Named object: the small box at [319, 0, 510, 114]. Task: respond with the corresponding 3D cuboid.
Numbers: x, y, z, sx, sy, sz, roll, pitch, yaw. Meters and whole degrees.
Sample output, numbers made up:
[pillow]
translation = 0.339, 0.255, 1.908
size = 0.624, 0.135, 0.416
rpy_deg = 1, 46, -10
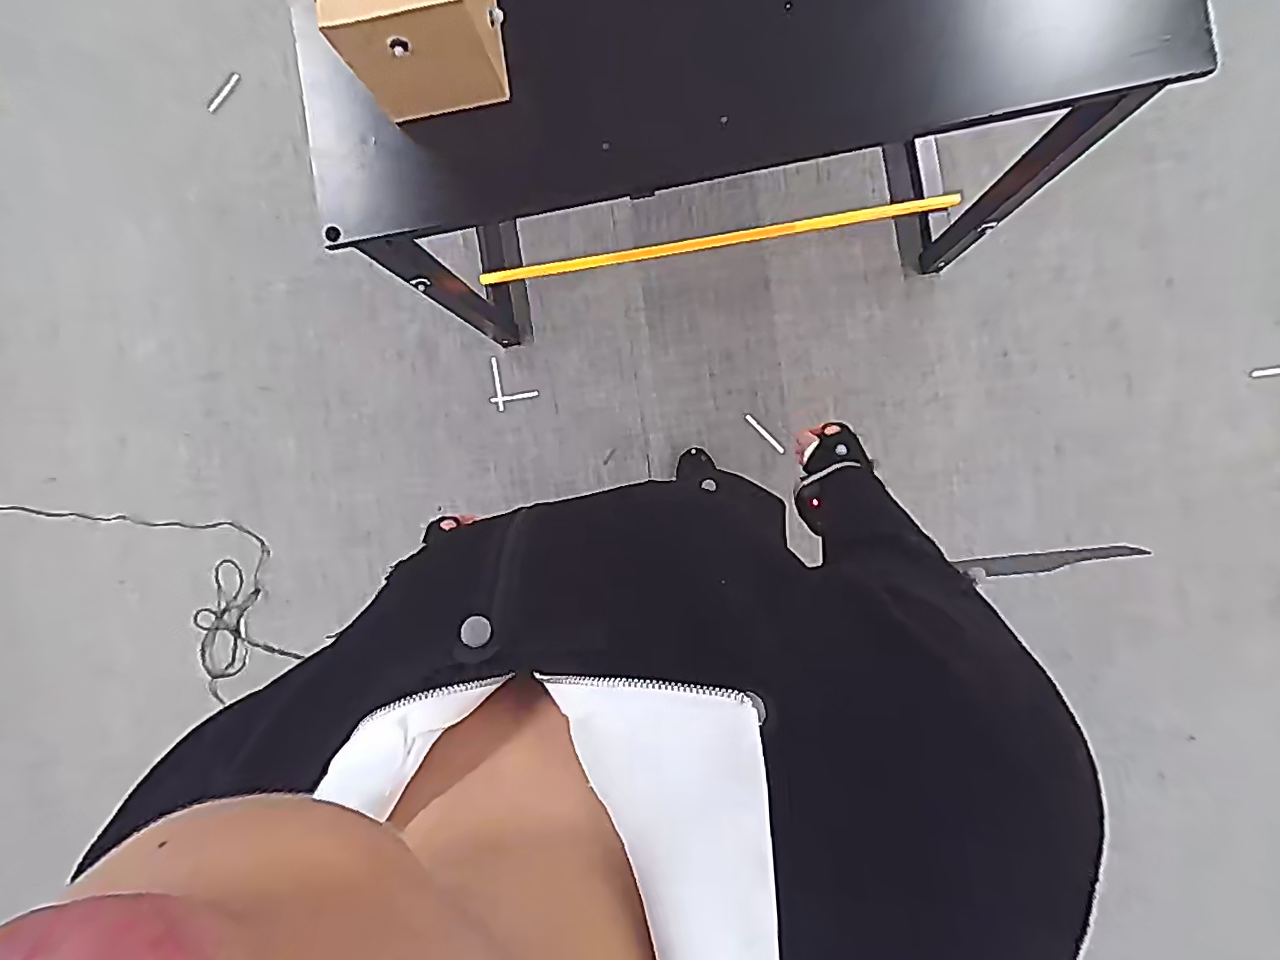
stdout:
[small box]
translation = -0.285, -0.612, 0.696
size = 0.179, 0.176, 0.168
rpy_deg = -7, 90, 4
